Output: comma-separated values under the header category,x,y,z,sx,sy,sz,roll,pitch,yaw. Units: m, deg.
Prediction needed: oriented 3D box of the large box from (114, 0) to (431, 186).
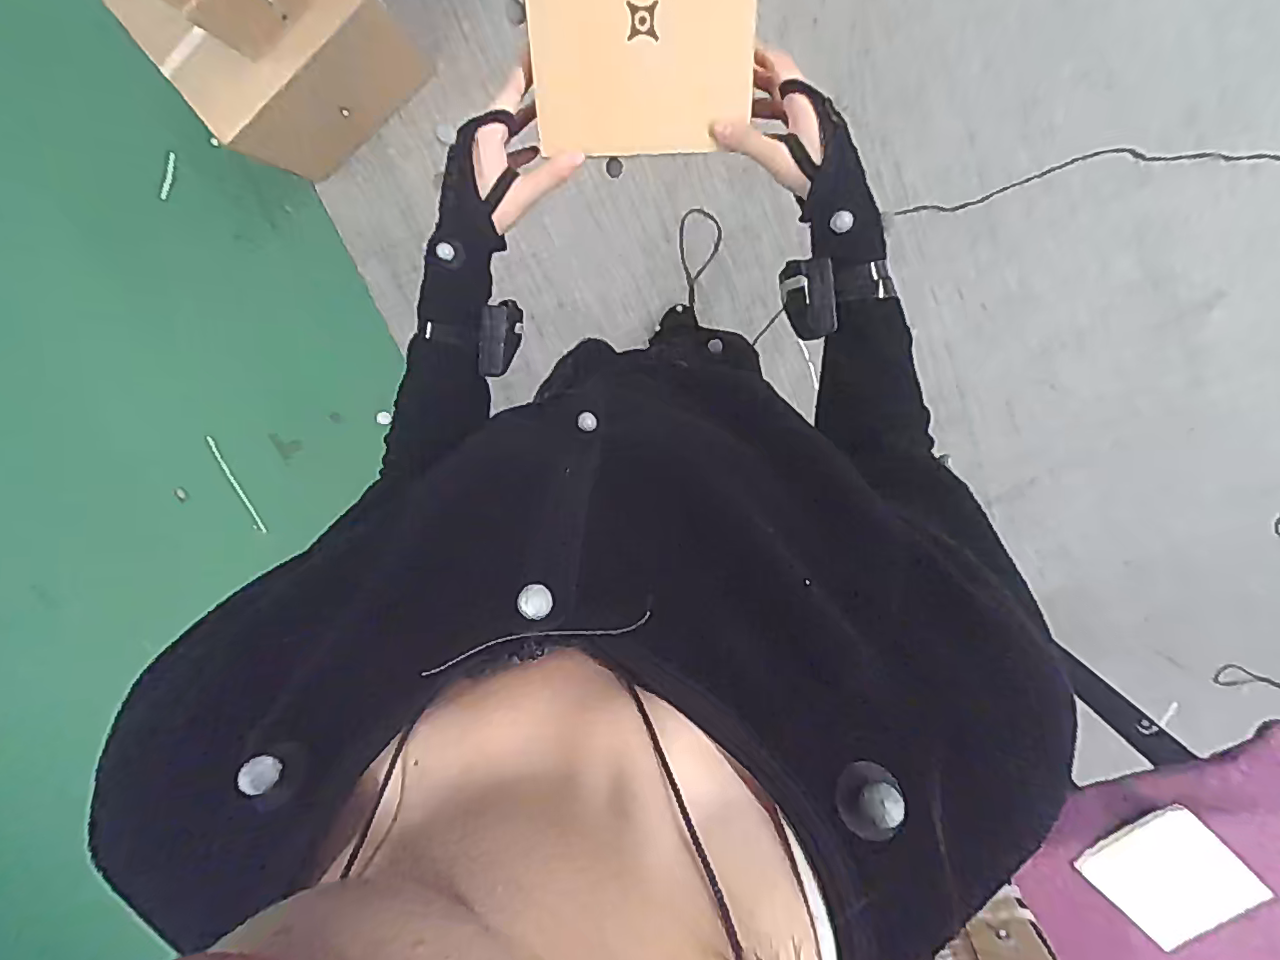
category,x,y,z,sx,sy,sz,roll,pitch,yaw
large box,-0.742,-0.922,1.150,0.408,0.320,0.320,-35,100,12

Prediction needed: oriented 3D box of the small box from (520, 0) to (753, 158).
category,x,y,z,sx,sy,sz,roll,pitch,yaw
small box,-0.006,-0.370,0.447,0.168,0.176,0.179,-4,118,-3

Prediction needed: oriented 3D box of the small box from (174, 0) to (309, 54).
category,x,y,z,sx,sy,sz,roll,pitch,yaw
small box,-0.712,-0.871,0.909,0.168,0.176,0.179,-34,101,11
